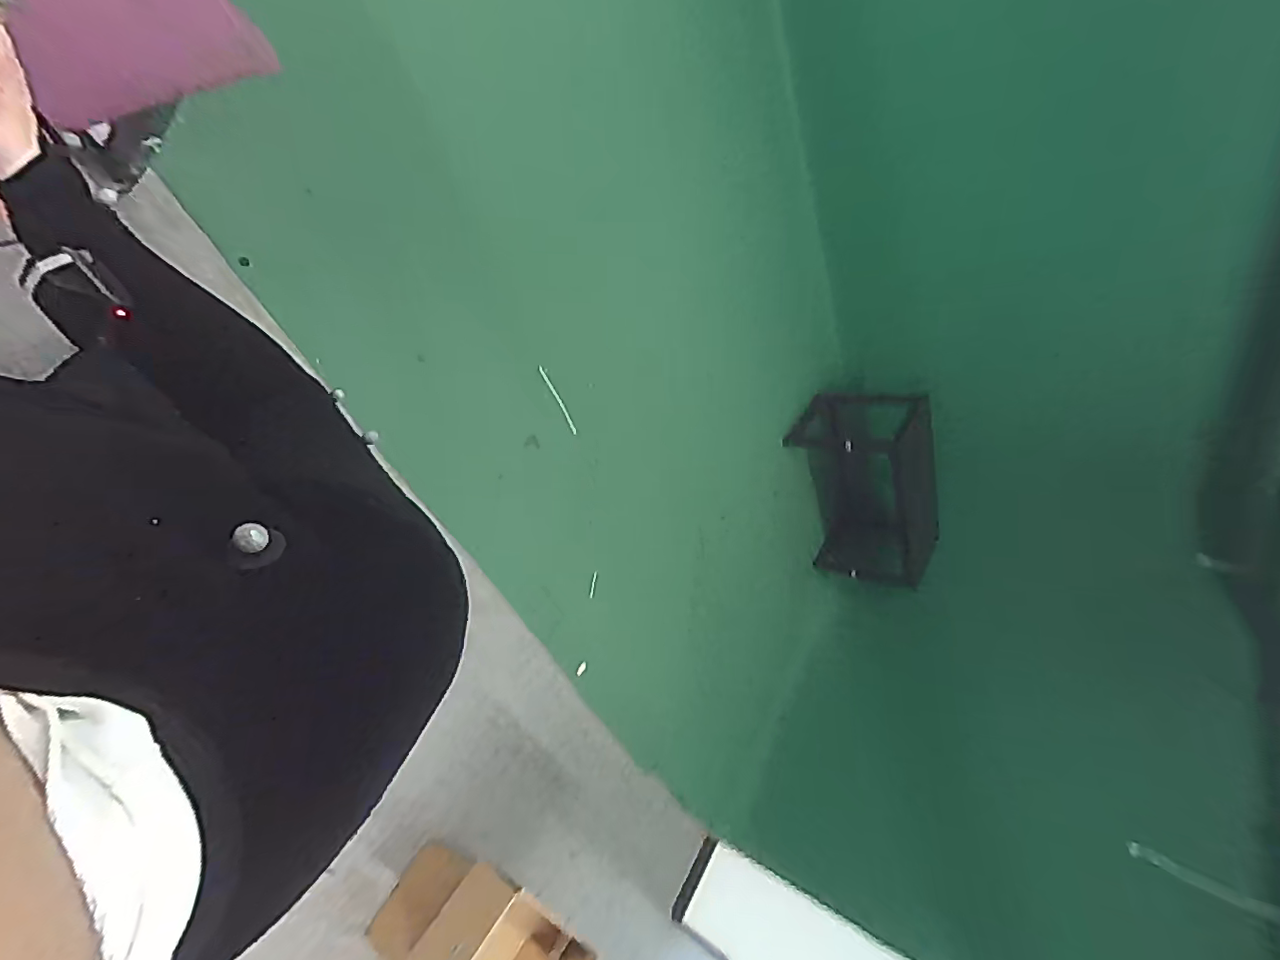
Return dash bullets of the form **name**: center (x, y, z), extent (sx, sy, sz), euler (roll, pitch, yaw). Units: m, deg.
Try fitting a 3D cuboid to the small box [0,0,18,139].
- **small box**: center (-0.624, -0.371, 0.416), extent (0.179, 0.176, 0.168), euler (8, 95, -50)
